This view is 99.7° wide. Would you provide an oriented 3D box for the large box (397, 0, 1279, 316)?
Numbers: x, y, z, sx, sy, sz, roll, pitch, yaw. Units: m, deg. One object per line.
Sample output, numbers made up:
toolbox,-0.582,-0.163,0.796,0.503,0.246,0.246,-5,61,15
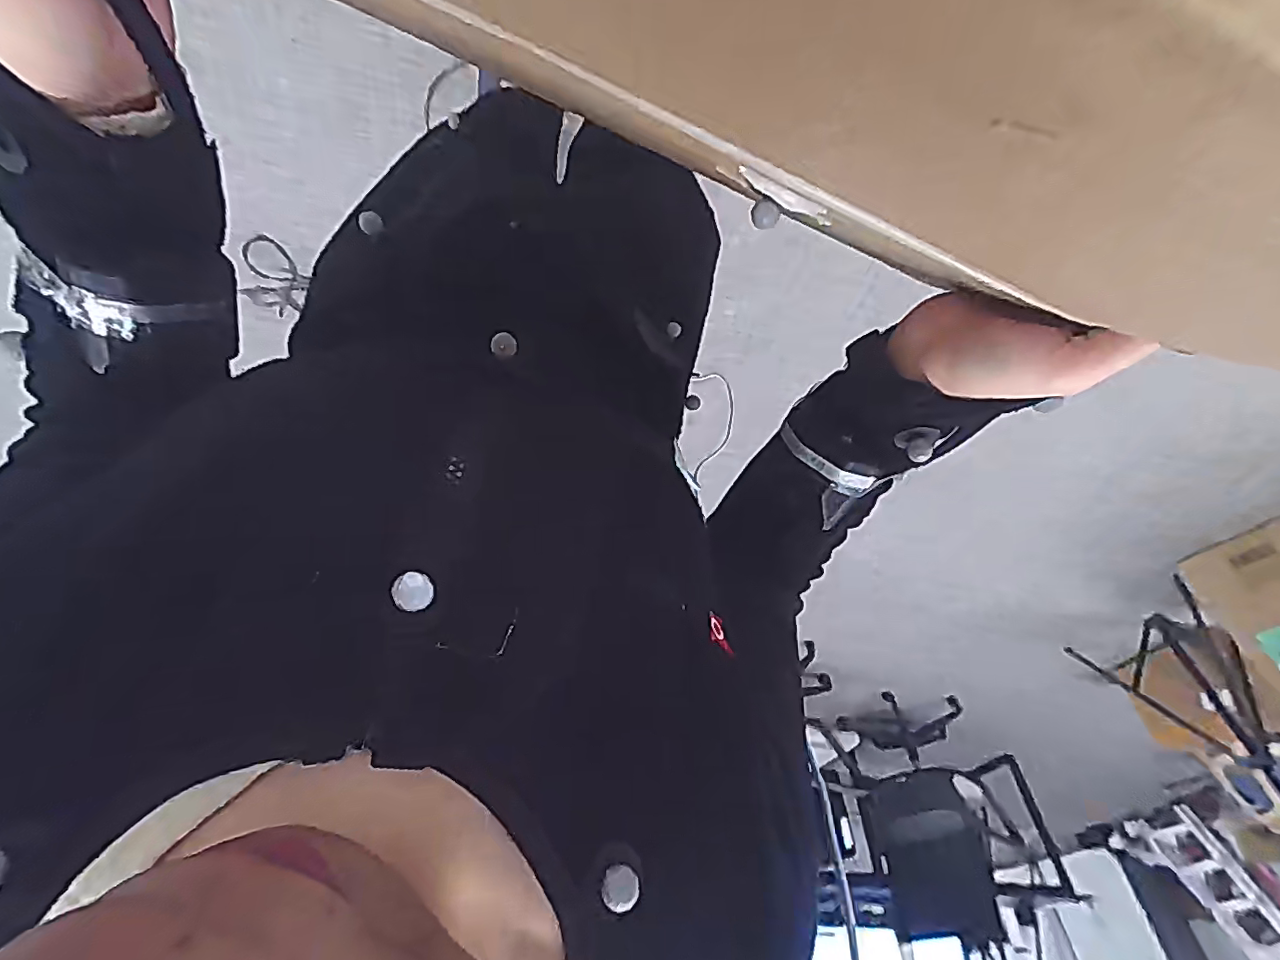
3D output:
large box,0.059,-0.266,0.107,0.408,0.320,0.320,19,116,-10
